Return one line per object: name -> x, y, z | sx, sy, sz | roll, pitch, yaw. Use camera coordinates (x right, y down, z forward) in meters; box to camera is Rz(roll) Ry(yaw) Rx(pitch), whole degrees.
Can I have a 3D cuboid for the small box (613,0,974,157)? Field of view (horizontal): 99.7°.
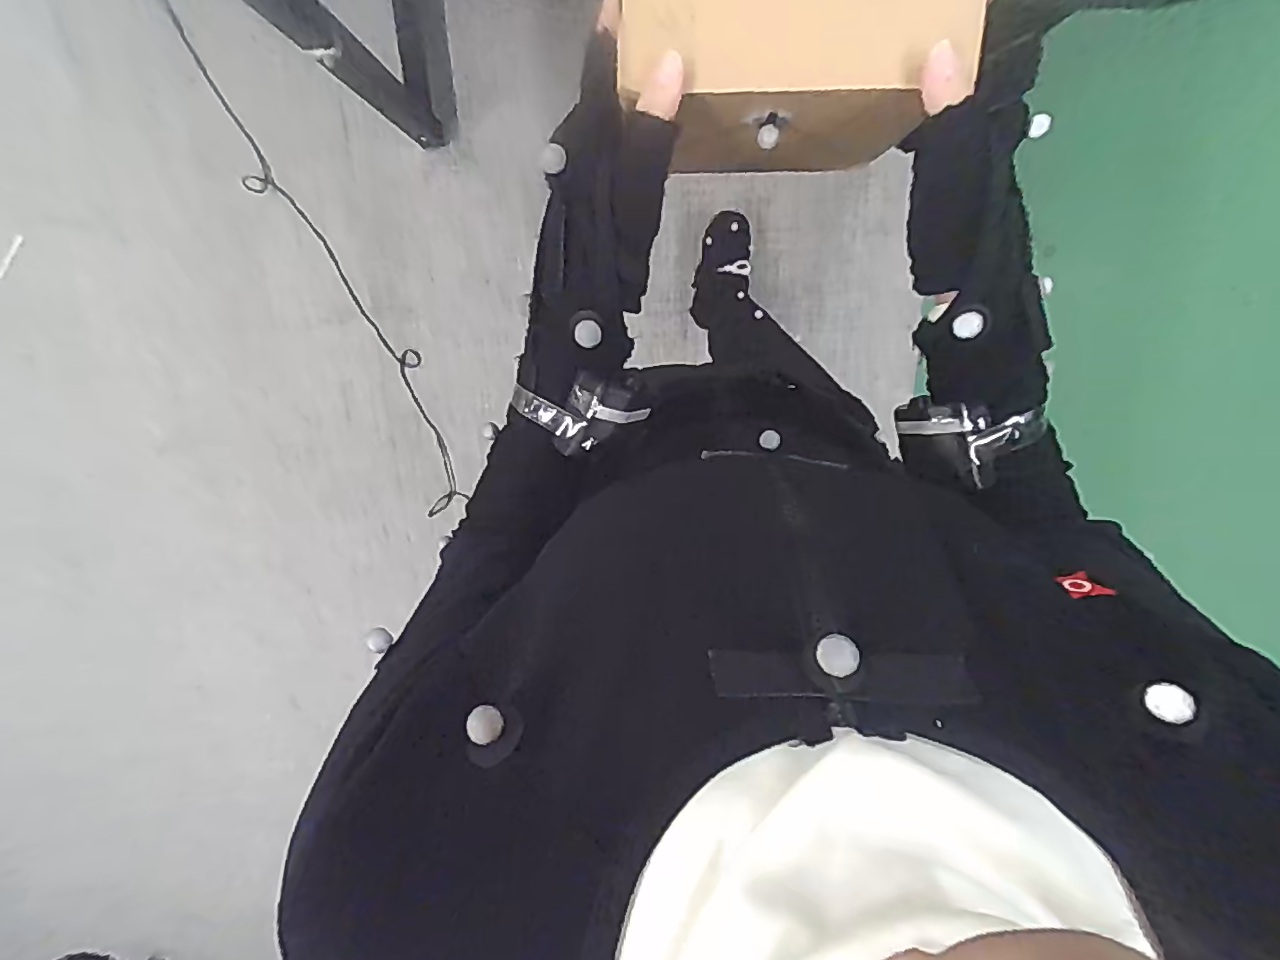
small box -> 0.077, -0.307, 0.324 | 0.179, 0.176, 0.168 | 0, 108, 2
